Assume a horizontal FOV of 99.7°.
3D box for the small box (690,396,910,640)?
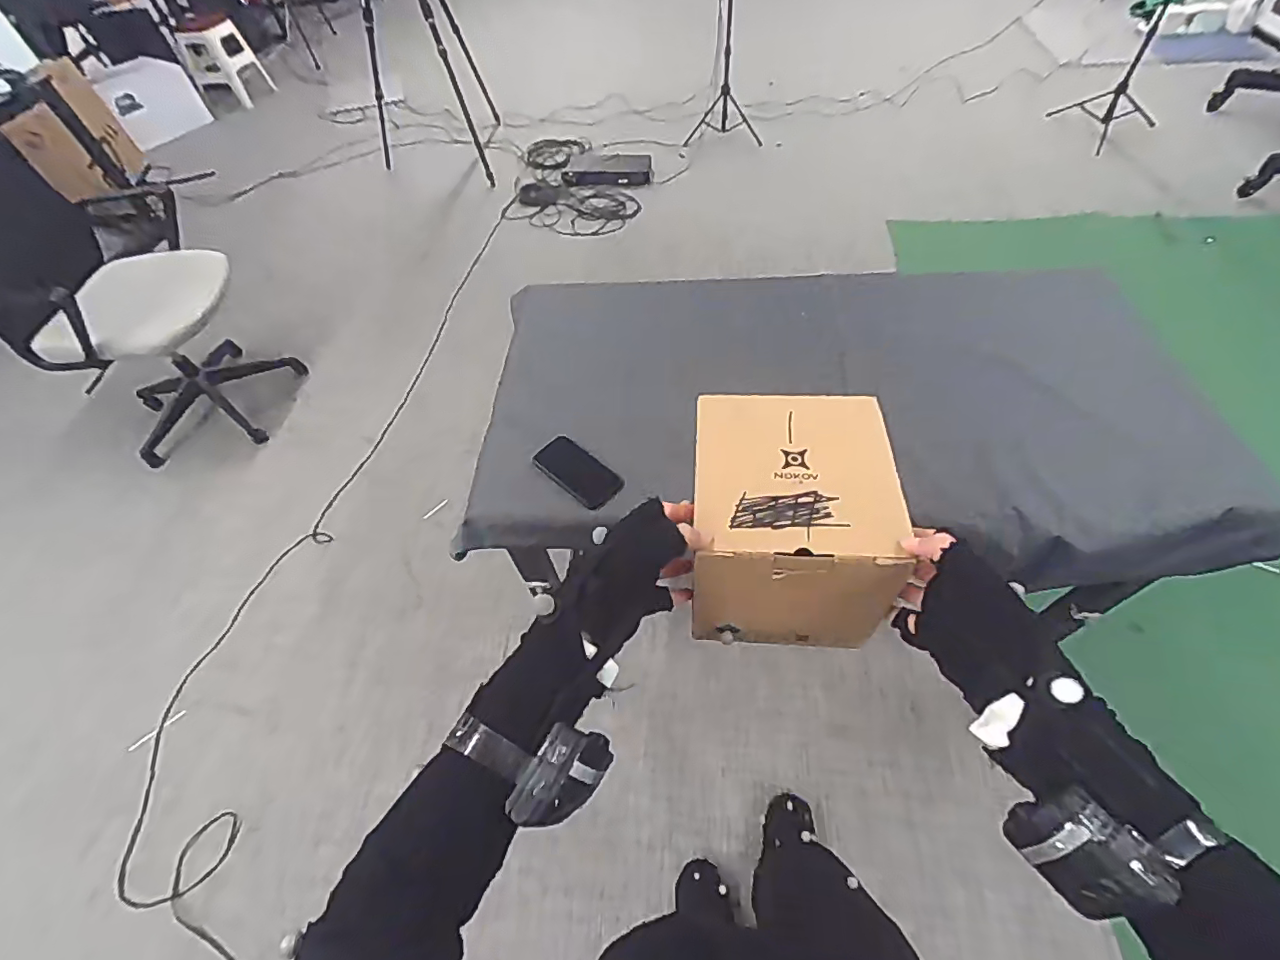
[{"bbox_3d":[0.134,0.039,0.521,0.168,0.176,0.179,2,50,6],"label":"small box"}]
